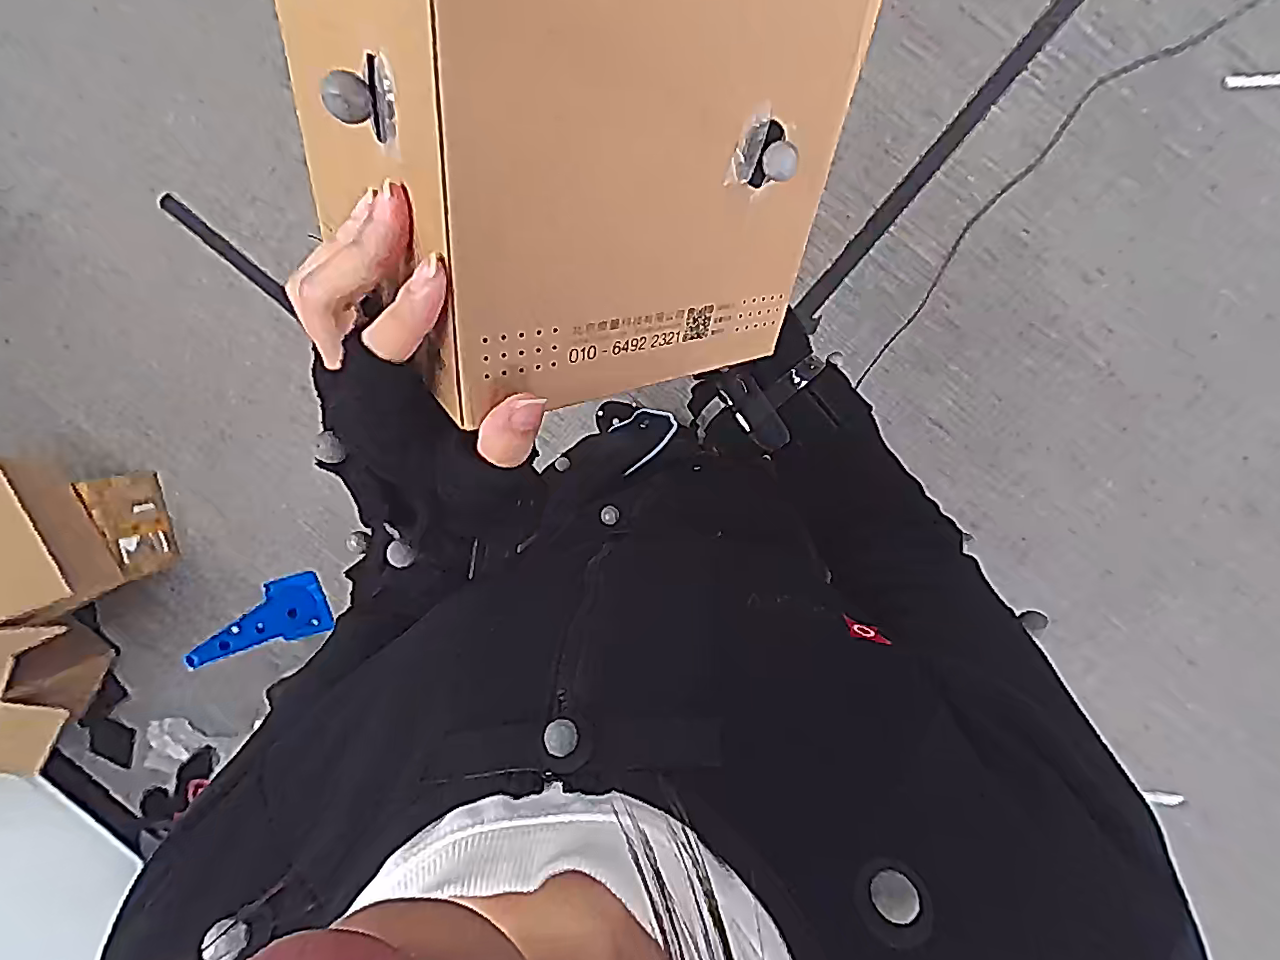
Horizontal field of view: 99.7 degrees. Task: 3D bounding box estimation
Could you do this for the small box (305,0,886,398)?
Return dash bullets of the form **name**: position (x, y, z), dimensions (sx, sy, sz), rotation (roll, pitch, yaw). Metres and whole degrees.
- **small box**: position (-0.029, -0.147, 0.236), dimensions (0.179, 0.168, 0.176), rotation (44, 138, 35)
